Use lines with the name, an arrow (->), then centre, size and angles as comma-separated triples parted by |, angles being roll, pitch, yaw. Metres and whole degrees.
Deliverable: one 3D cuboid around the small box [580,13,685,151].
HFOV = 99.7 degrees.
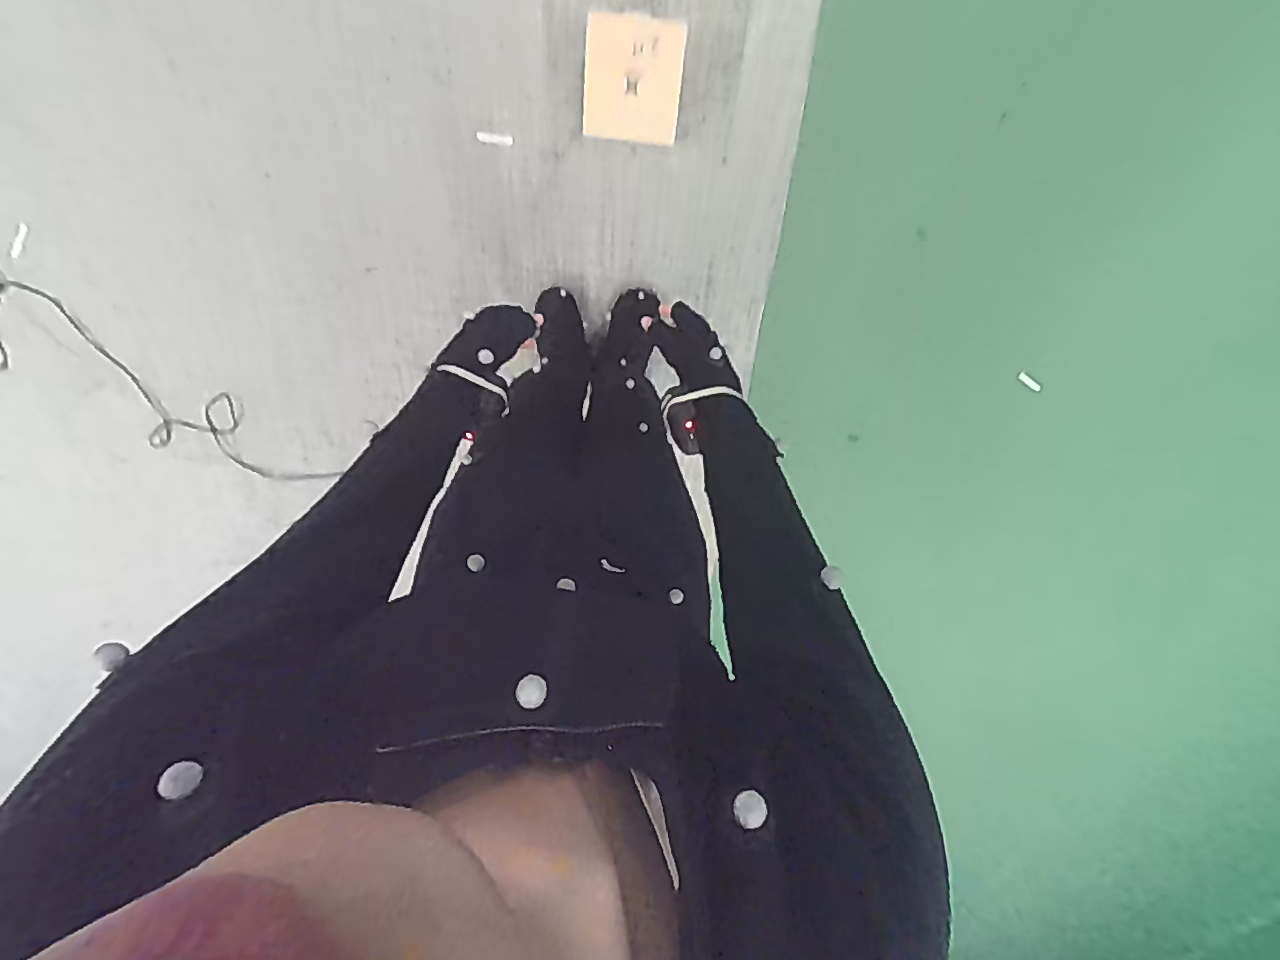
small box -> -0.016, -0.708, 0.984 | 0.168, 0.176, 0.179 | 5, 119, -3
